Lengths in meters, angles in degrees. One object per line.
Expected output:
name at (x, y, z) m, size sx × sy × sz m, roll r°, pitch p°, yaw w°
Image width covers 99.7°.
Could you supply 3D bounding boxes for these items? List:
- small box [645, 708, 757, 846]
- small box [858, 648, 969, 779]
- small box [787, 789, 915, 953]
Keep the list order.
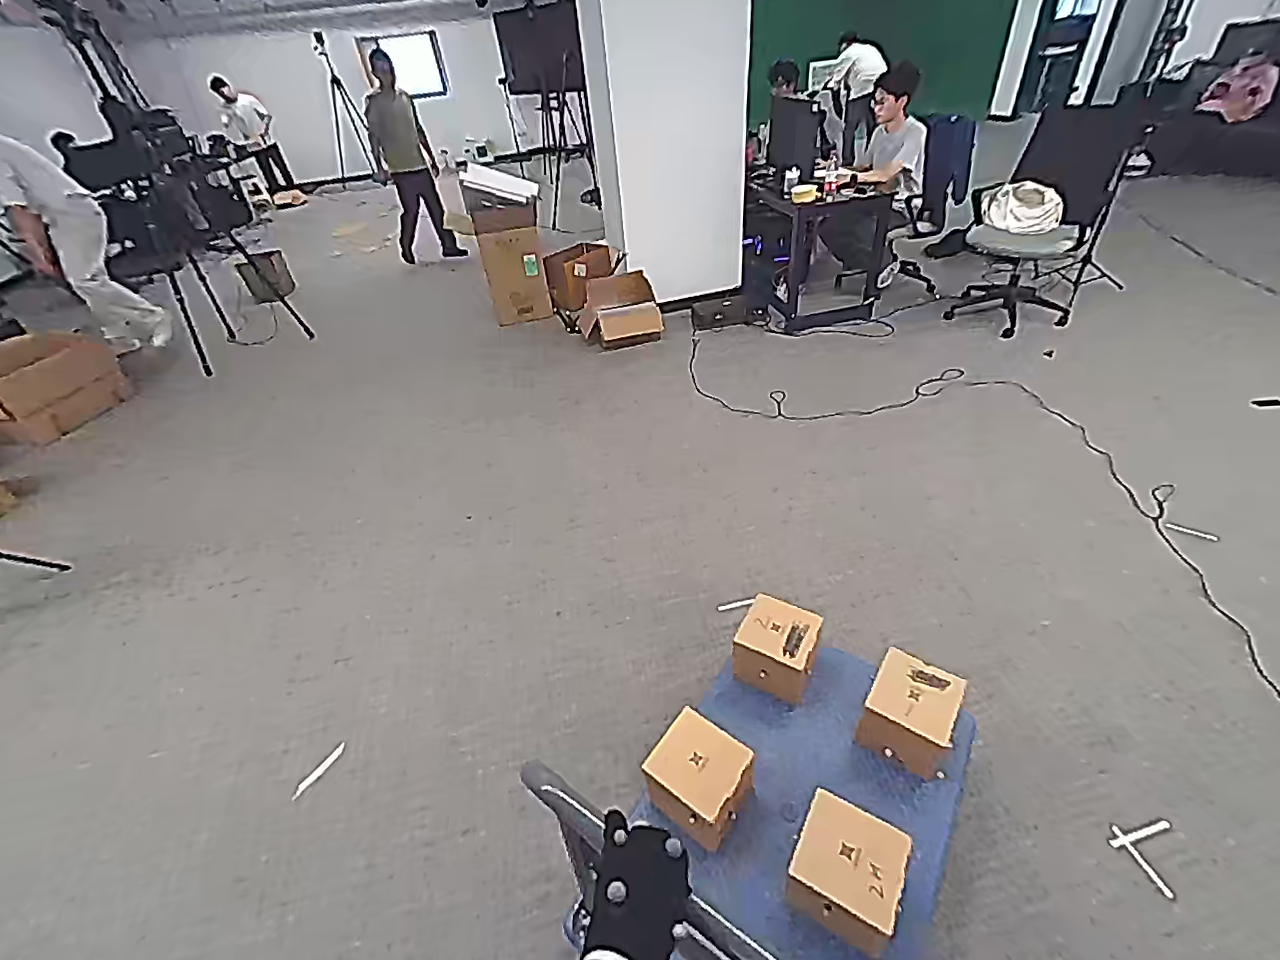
small box at (0.131, 0.638, 1.159) m, size 0.179 × 0.176 × 0.168 m, roll 25°, pitch 48°, yaw 31°
small box at (0.610, 0.526, 1.220) m, size 0.168 × 0.176 × 0.179 m, roll 22°, pitch 49°, yaw 31°
small box at (0.385, 0.728, 1.007) m, size 0.179 × 0.176 × 0.168 m, roll 18°, pitch 46°, yaw 28°
